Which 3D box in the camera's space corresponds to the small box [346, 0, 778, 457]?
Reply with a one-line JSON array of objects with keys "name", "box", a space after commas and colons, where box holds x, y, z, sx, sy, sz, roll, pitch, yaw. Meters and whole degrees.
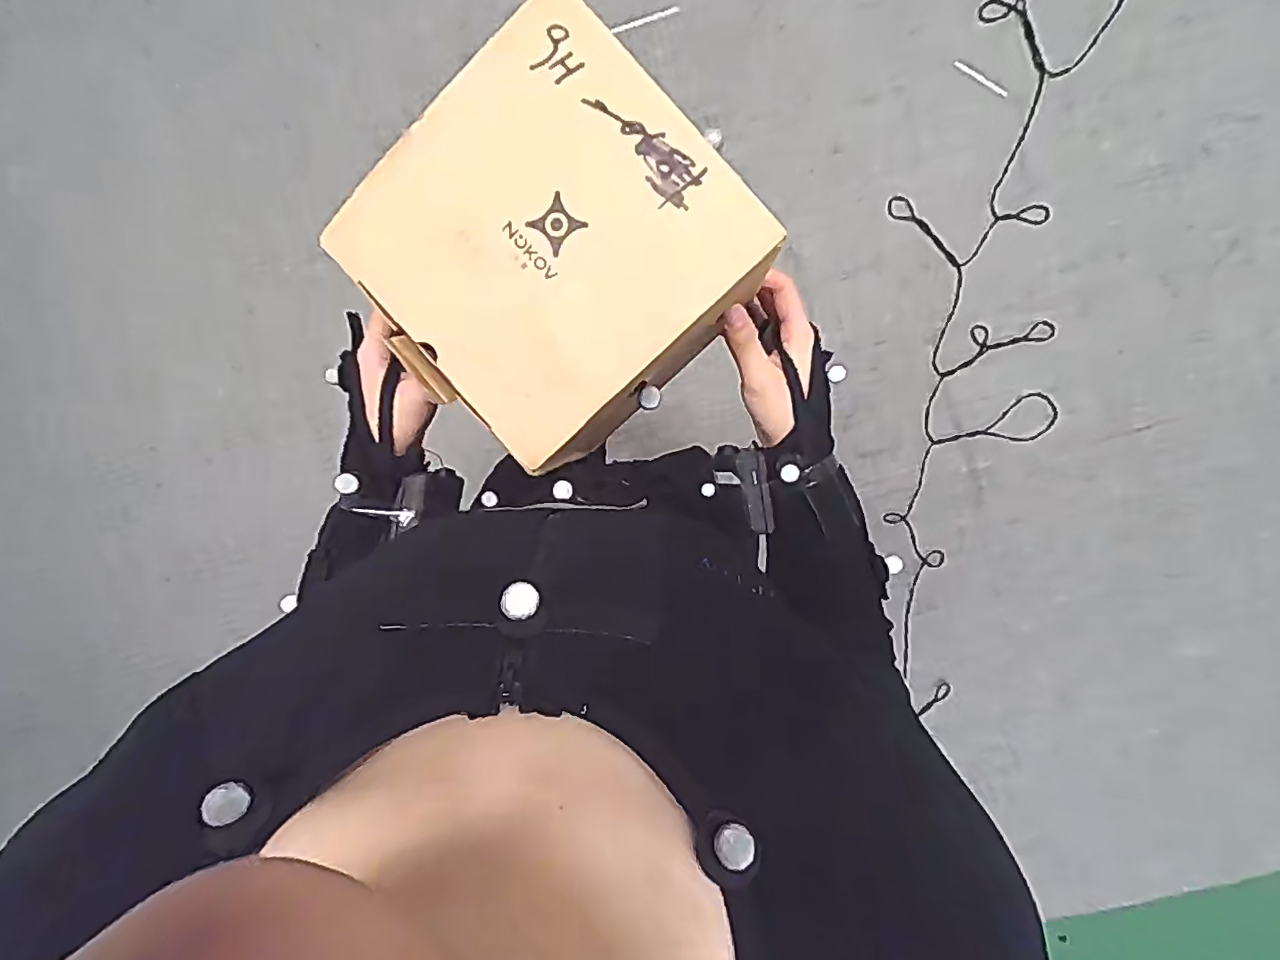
[{"name": "small box", "box": [-0.036, -0.135, 0.359, 0.179, 0.176, 0.168, -42, 92, 8]}]
